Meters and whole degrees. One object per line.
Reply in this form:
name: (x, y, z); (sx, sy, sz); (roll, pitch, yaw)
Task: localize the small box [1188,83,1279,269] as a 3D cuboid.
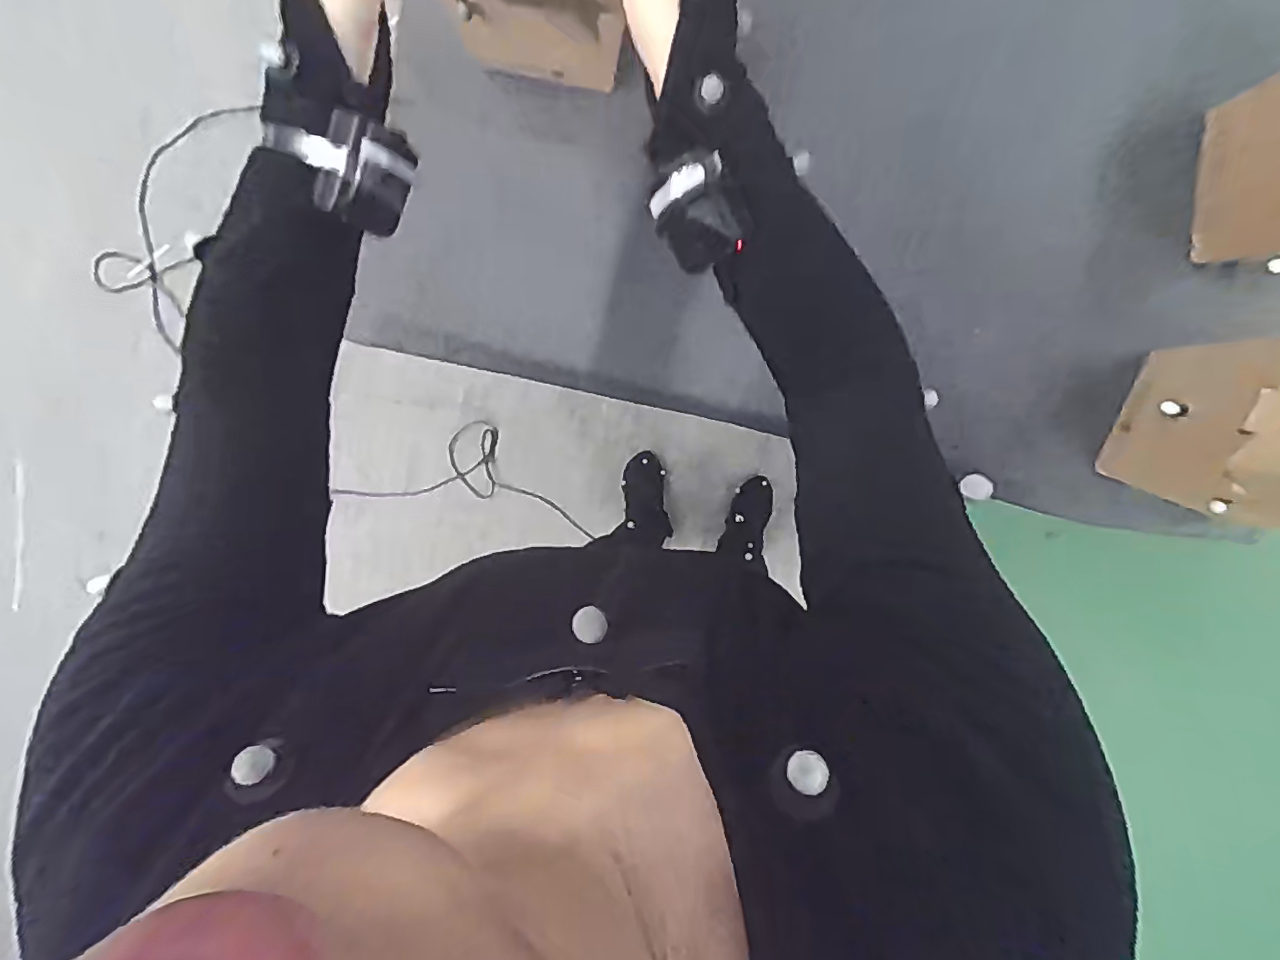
small box: (0.737, -0.331, 0.562); (0.168, 0.176, 0.179); (-2, 102, 5)

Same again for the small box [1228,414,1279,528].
small box: (0.683, -0.007, 0.453); (0.179, 0.176, 0.168); (41, 96, -5)

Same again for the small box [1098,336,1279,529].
small box: (0.688, -0.045, 0.612); (0.179, 0.176, 0.168); (20, 97, -1)

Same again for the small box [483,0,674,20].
small box: (-0.059, -0.445, 0.356); (0.179, 0.176, 0.168); (8, 109, 3)
